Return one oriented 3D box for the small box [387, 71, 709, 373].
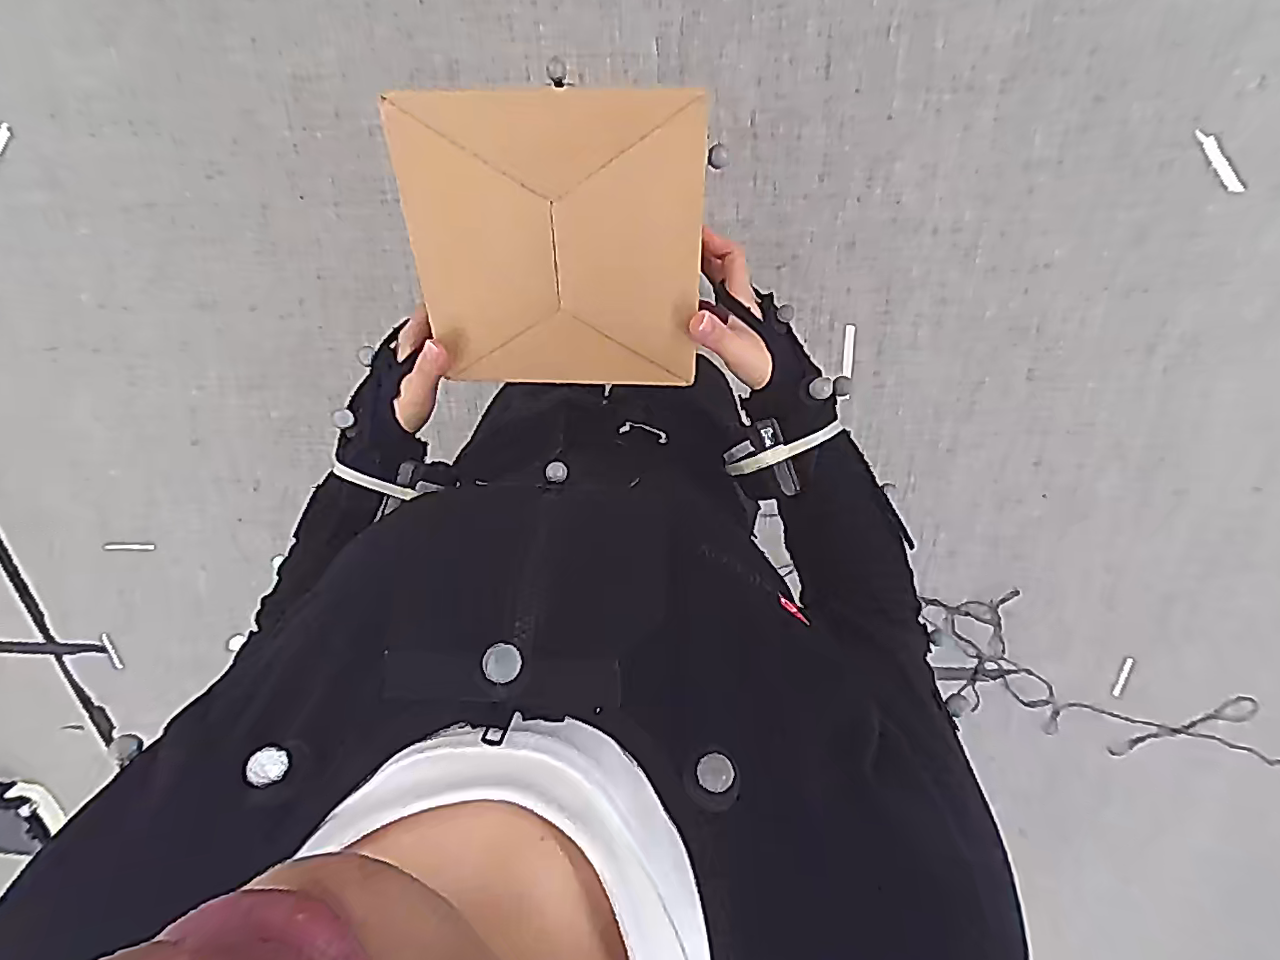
[{"bbox_3d":[-0.042,-0.184,0.385,0.179,0.176,0.168,1,126,3],"label":"small box"}]
